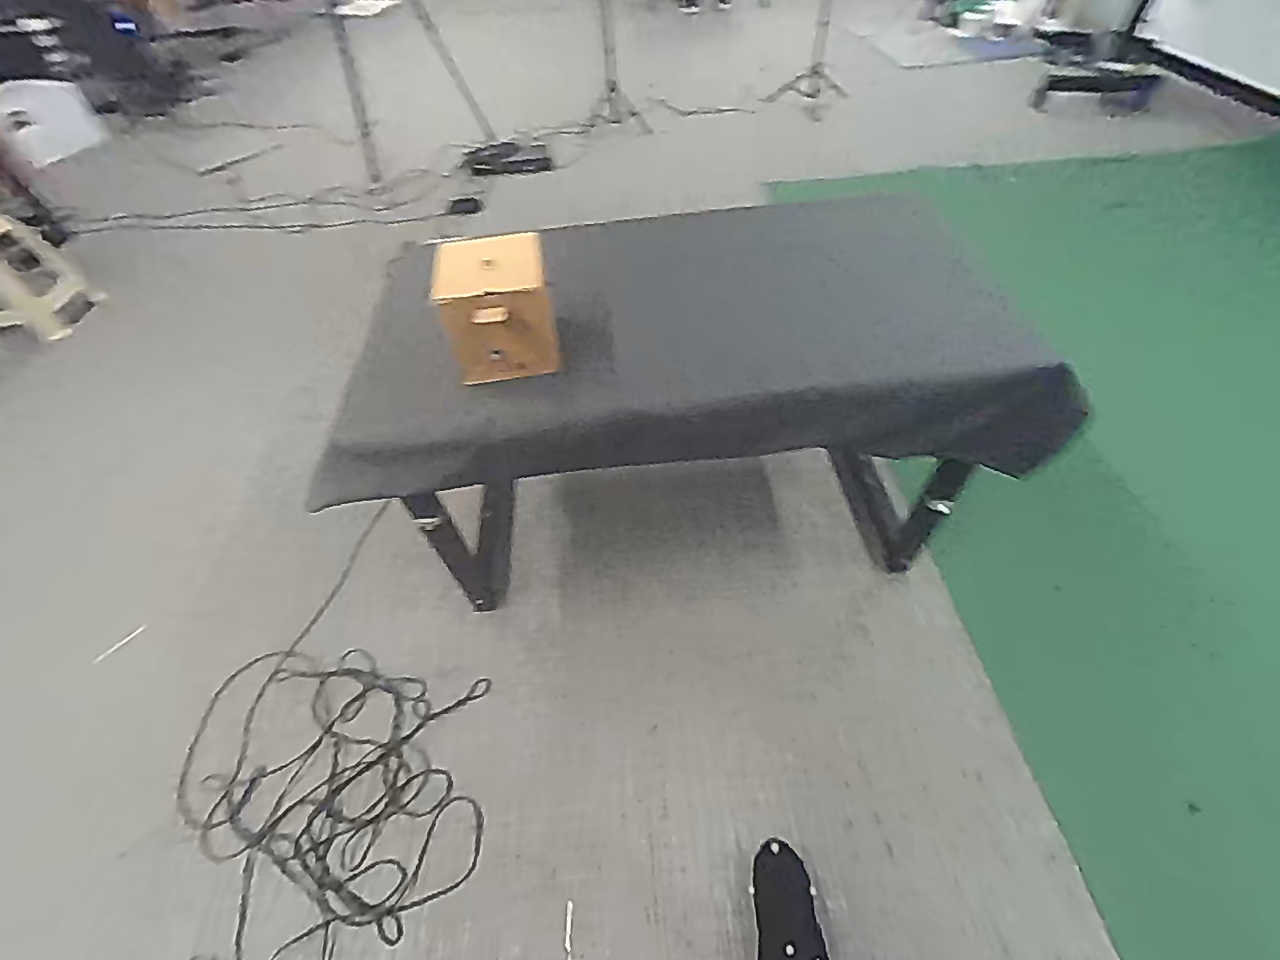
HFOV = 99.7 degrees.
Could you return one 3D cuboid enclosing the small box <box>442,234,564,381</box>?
[{"bbox_3d":[-0.227,-0.294,0.929,0.168,0.176,0.179,-9,52,-4],"label":"small box"}]
